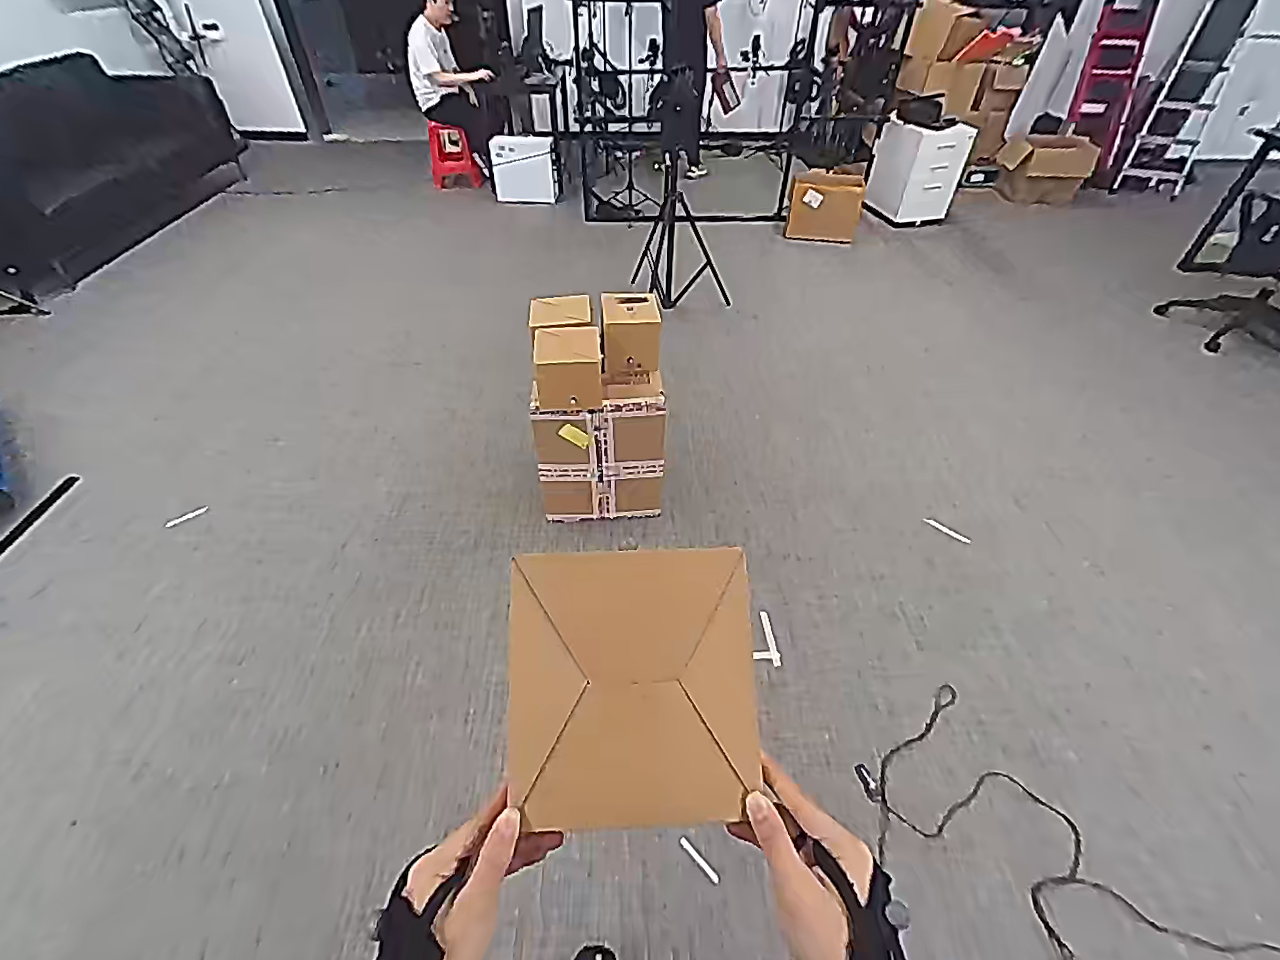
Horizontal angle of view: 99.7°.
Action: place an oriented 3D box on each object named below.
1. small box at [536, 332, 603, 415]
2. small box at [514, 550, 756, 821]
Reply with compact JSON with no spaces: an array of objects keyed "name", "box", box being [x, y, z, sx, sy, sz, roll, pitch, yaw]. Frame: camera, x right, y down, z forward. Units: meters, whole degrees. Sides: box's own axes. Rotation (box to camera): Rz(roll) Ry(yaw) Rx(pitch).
[{"name":"small box","box":[-0.198,-0.301,1.515,0.179,0.176,0.168,-4,47,-4]},{"name":"small box","box":[-0.007,0.155,0.447,0.168,0.176,0.179,-1,78,-3]}]
